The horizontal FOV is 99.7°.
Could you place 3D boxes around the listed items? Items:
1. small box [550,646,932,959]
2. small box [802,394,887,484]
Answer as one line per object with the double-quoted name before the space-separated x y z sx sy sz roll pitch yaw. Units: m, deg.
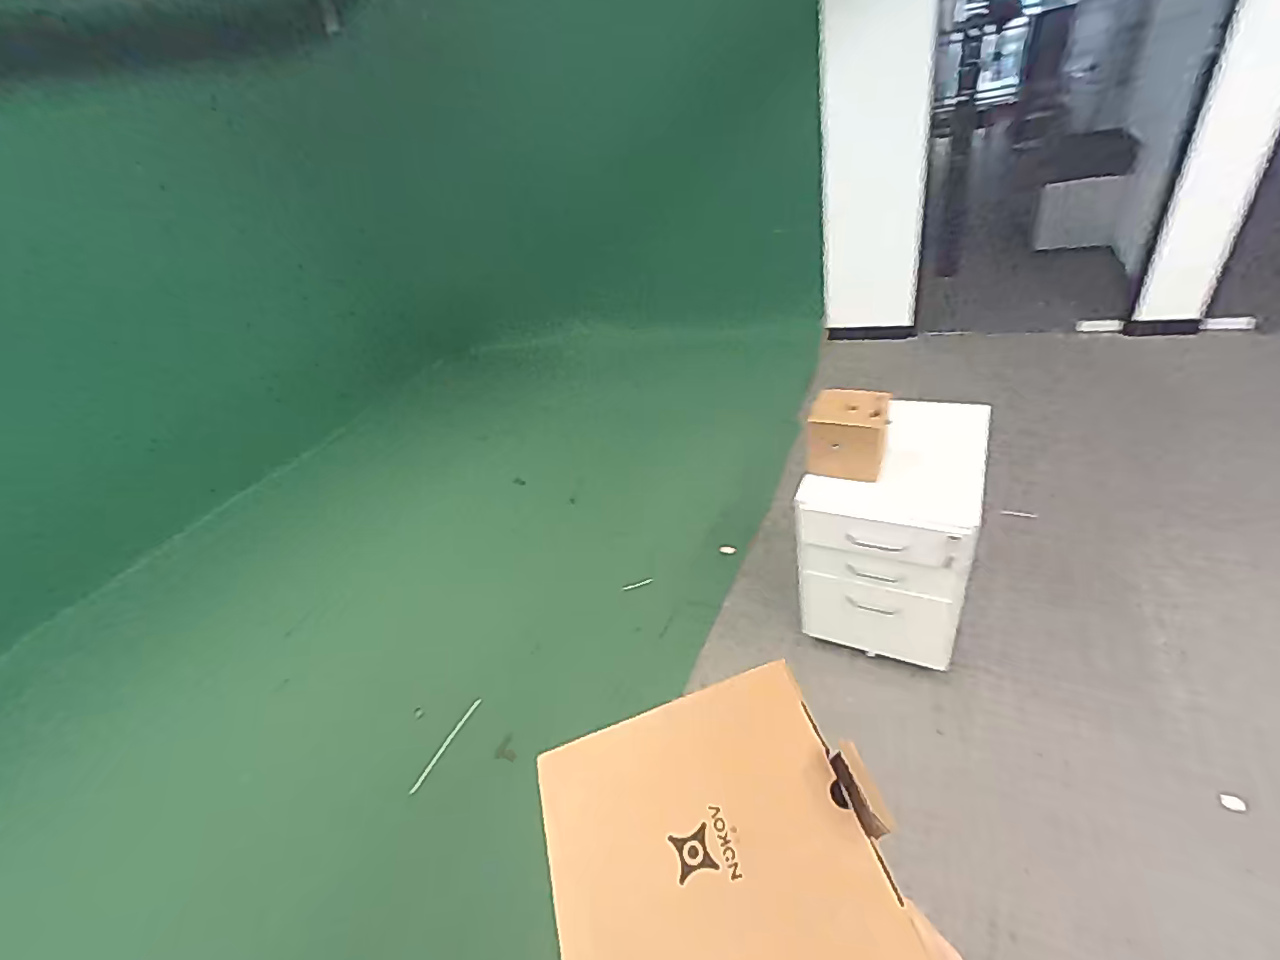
"small box" 0.060 0.247 0.359 0.179 0.176 0.168 -22 45 1
"small box" 0.530 -0.107 1.399 0.179 0.176 0.168 9 42 28
